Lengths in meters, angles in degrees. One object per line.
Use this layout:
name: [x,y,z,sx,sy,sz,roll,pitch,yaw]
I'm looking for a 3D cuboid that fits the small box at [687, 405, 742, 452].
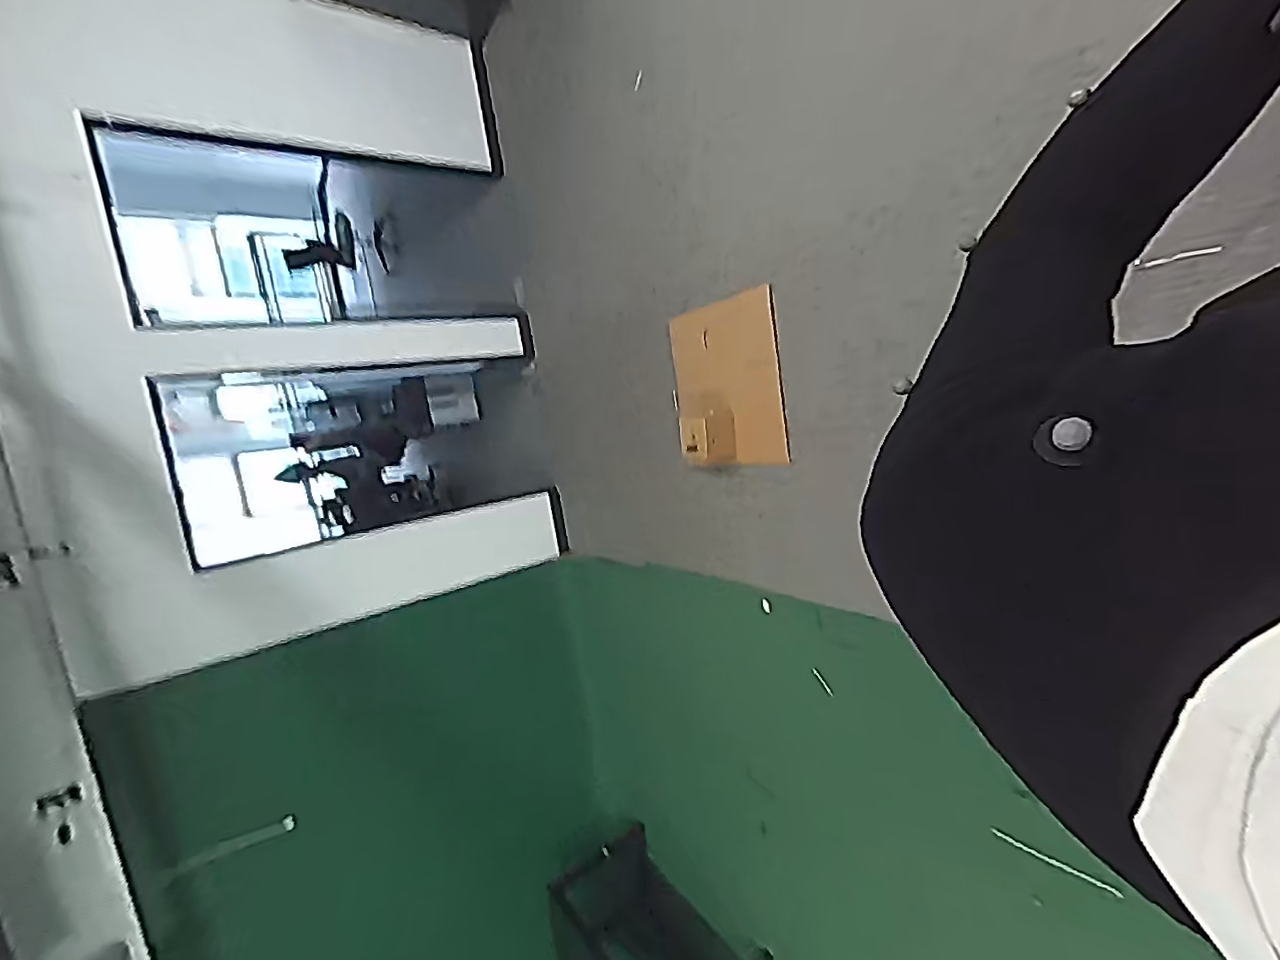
small box: [0.323,-0.225,2.328,0.168,0.176,0.179,10,109,54]
